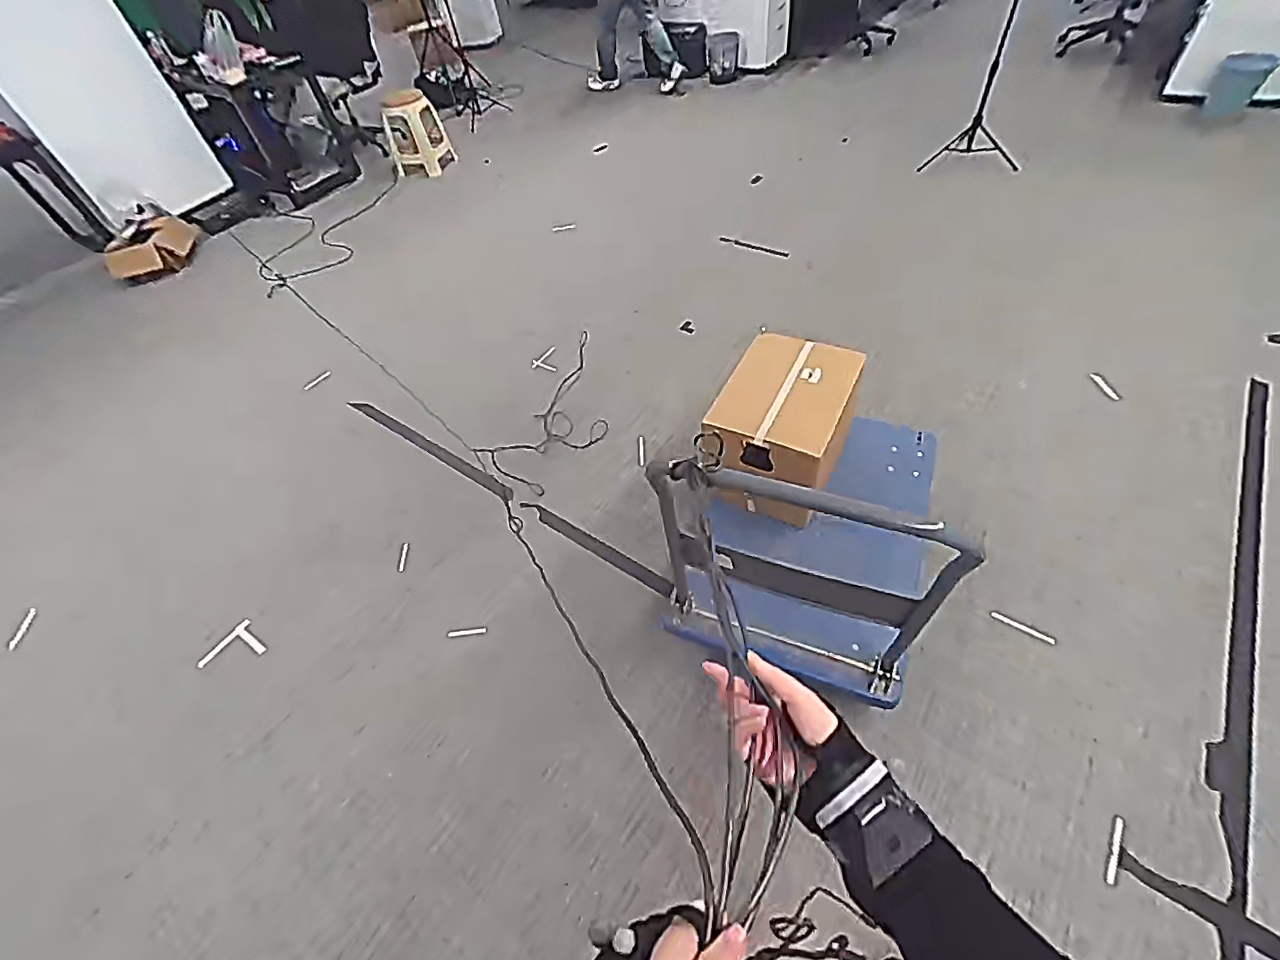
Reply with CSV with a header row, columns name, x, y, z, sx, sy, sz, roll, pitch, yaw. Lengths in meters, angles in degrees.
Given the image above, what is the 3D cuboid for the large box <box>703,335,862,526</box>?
name,x,y,z,sx,sy,sz,roll,pitch,yaw
large box,0.399,-0.144,1.539,0.320,0.320,0.408,20,57,22
